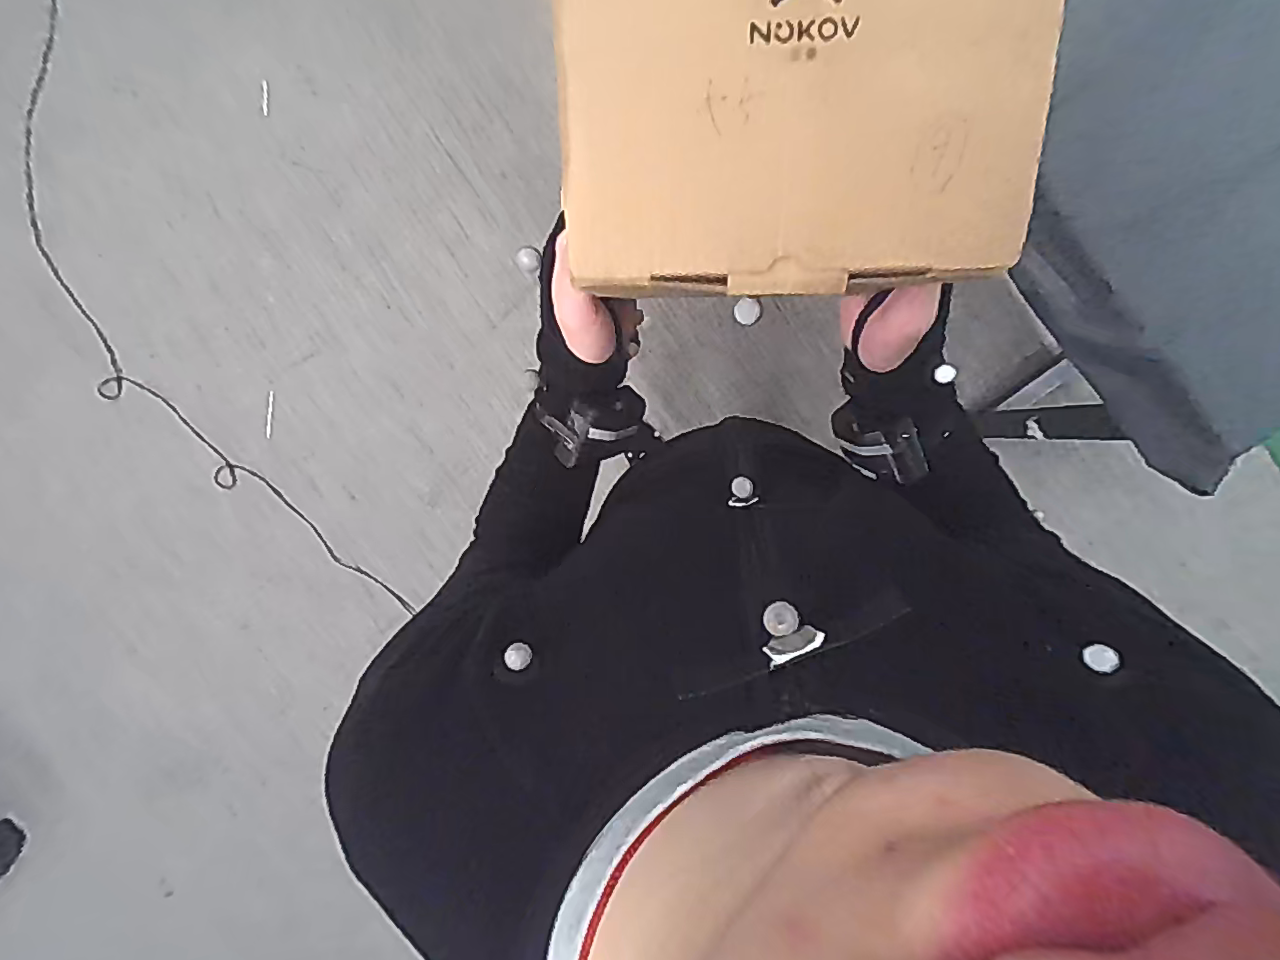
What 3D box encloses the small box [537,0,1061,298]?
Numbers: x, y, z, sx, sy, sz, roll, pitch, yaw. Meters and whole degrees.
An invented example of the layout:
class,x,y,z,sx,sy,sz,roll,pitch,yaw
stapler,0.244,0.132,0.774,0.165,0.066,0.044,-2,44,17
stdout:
class,x,y,z,sx,sy,sz,roll,pitch,yaw
small box,0.049,-0.179,0.245,0.168,0.176,0.179,-2,109,0
